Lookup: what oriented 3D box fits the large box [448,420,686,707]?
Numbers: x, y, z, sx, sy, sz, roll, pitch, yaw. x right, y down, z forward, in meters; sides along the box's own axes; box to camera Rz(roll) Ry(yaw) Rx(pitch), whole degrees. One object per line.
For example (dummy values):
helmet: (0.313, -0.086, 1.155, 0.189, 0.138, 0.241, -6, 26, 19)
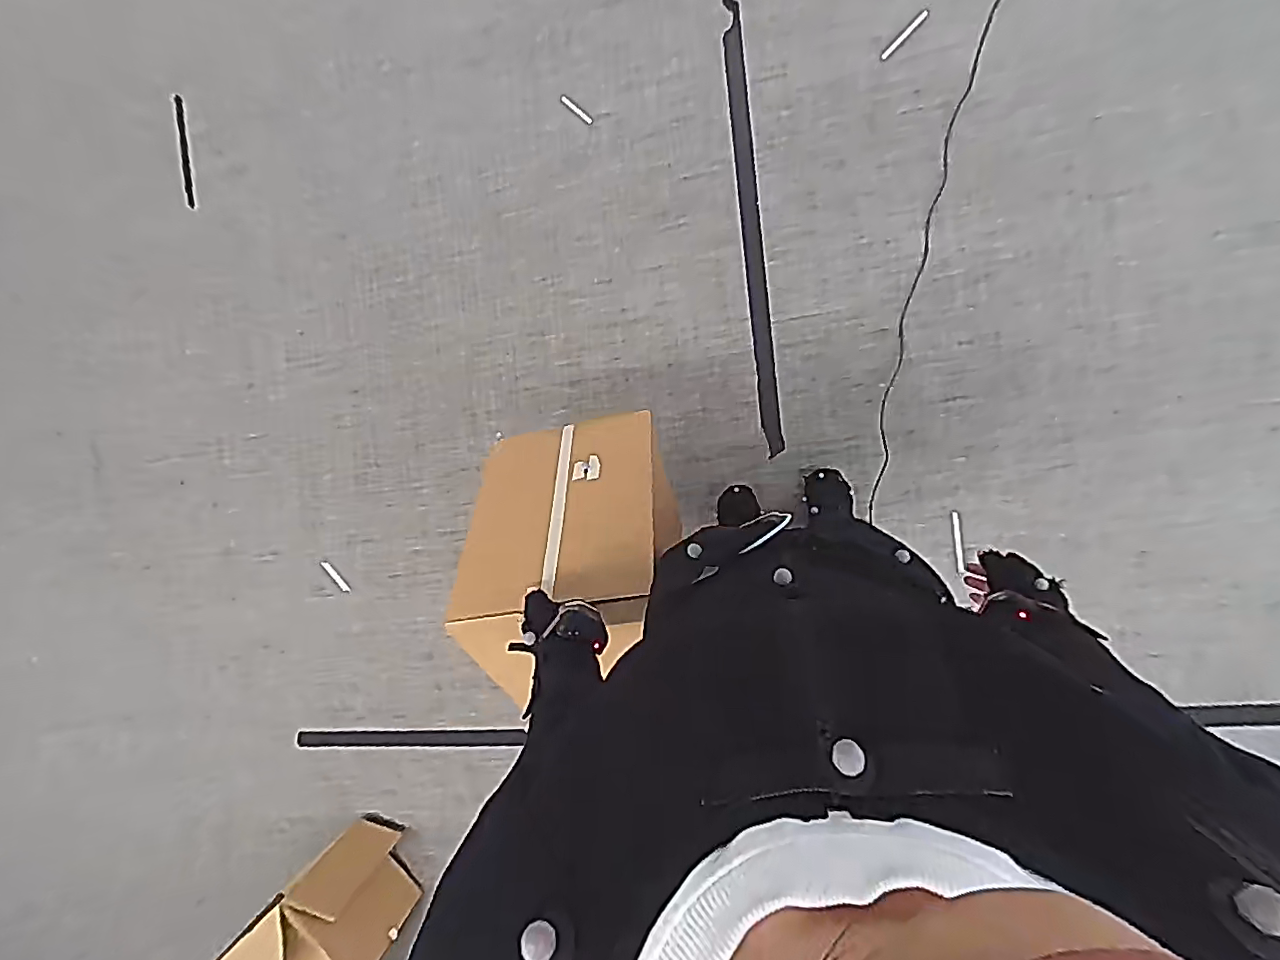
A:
large box: (-0.101, 0.152, 1.006, 0.320, 0.408, 0.320, -9, 133, 9)
